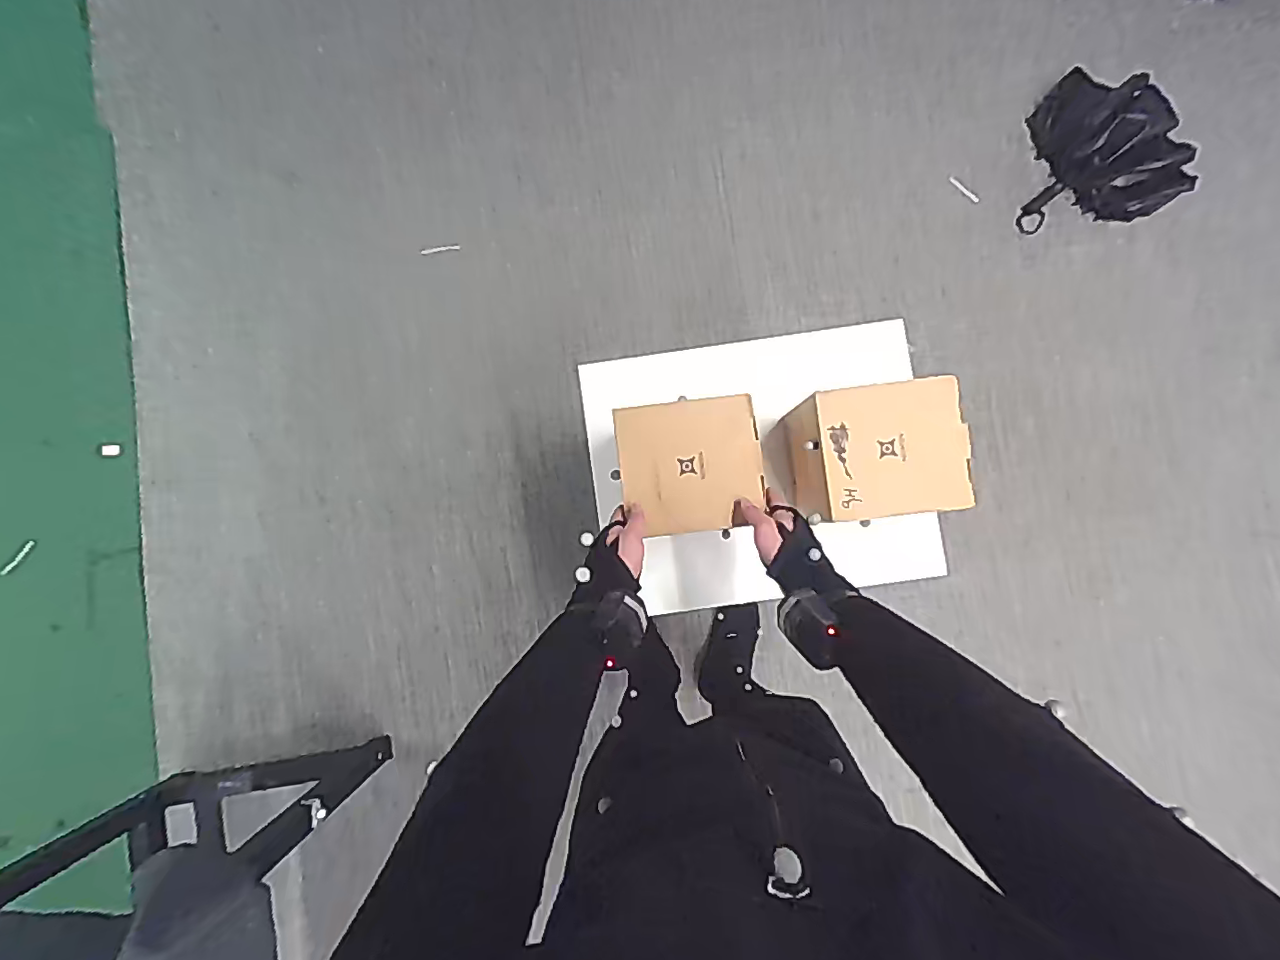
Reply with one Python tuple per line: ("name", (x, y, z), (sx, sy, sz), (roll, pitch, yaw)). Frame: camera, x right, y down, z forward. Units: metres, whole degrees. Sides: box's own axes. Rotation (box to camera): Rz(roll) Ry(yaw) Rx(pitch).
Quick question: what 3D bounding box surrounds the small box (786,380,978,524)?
("small box", (0.313, -0.032, 0.731), (0.179, 0.176, 0.168), (-6, 87, 0))
